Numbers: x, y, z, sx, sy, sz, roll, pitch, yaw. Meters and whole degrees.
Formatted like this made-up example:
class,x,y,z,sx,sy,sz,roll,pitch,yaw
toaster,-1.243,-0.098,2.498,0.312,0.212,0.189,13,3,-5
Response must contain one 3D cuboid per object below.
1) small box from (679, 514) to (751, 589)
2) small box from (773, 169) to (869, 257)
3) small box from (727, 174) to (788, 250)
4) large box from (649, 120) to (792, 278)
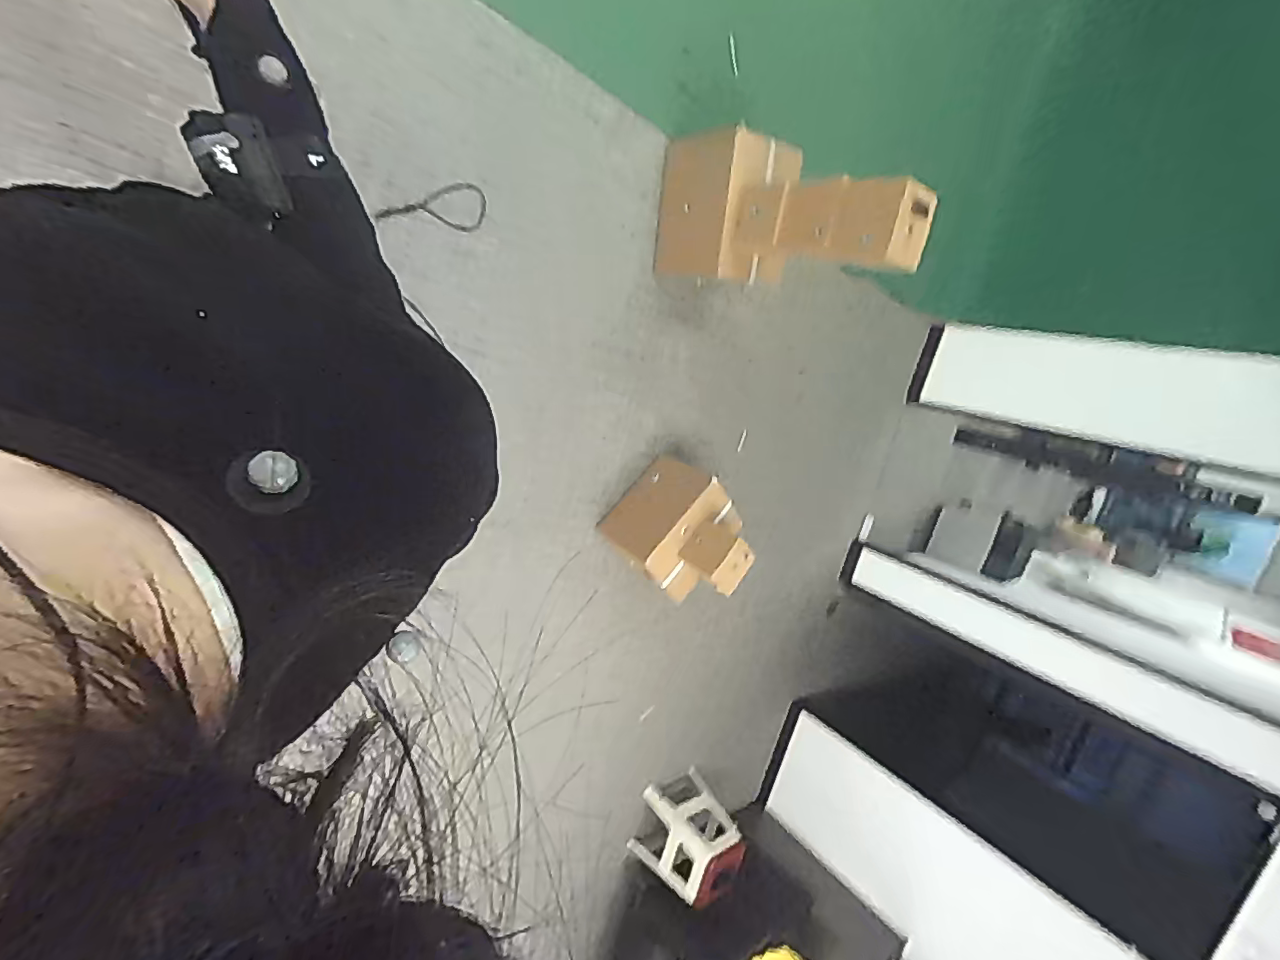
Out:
class,x,y,z,sx,sy,sz,roll,pitch,yaw
small box,0.262,0.253,1.939,0.179,0.176,0.168,-51,136,-10
small box,0.487,-0.720,1.472,0.168,0.176,0.179,-3,111,-41
small box,0.380,-0.775,1.581,0.179,0.176,0.168,-4,112,-40
large box,0.251,-0.882,1.765,0.320,0.320,0.408,-12,115,-39
